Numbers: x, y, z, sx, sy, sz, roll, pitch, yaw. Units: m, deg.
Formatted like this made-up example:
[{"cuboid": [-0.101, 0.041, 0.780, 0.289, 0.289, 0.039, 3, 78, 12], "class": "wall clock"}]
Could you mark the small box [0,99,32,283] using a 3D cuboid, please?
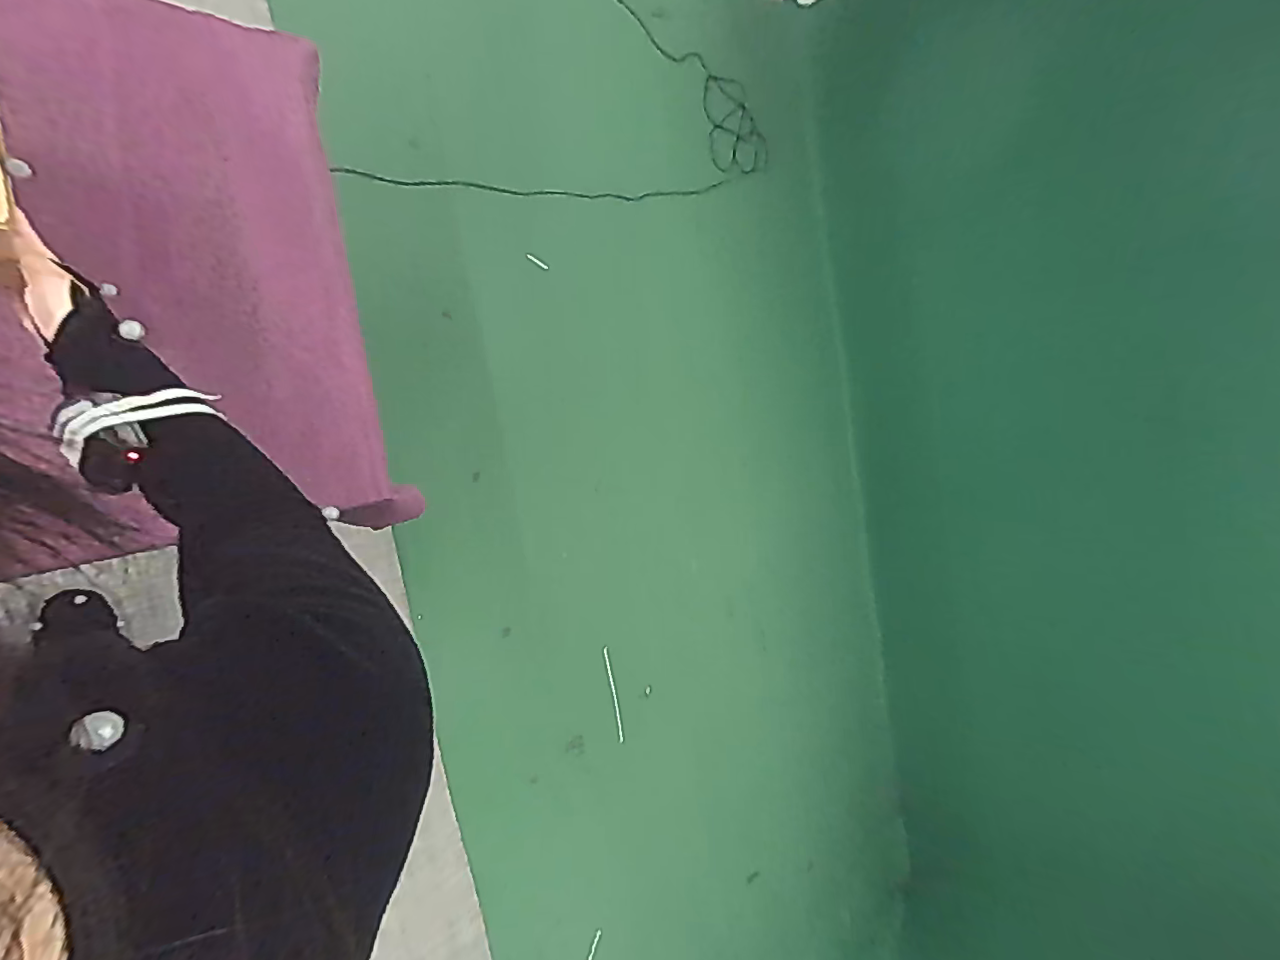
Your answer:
[{"cuboid": [-0.556, -0.247, 0.368, 0.168, 0.176, 0.179, -11, 97, -45], "class": "small box"}]
